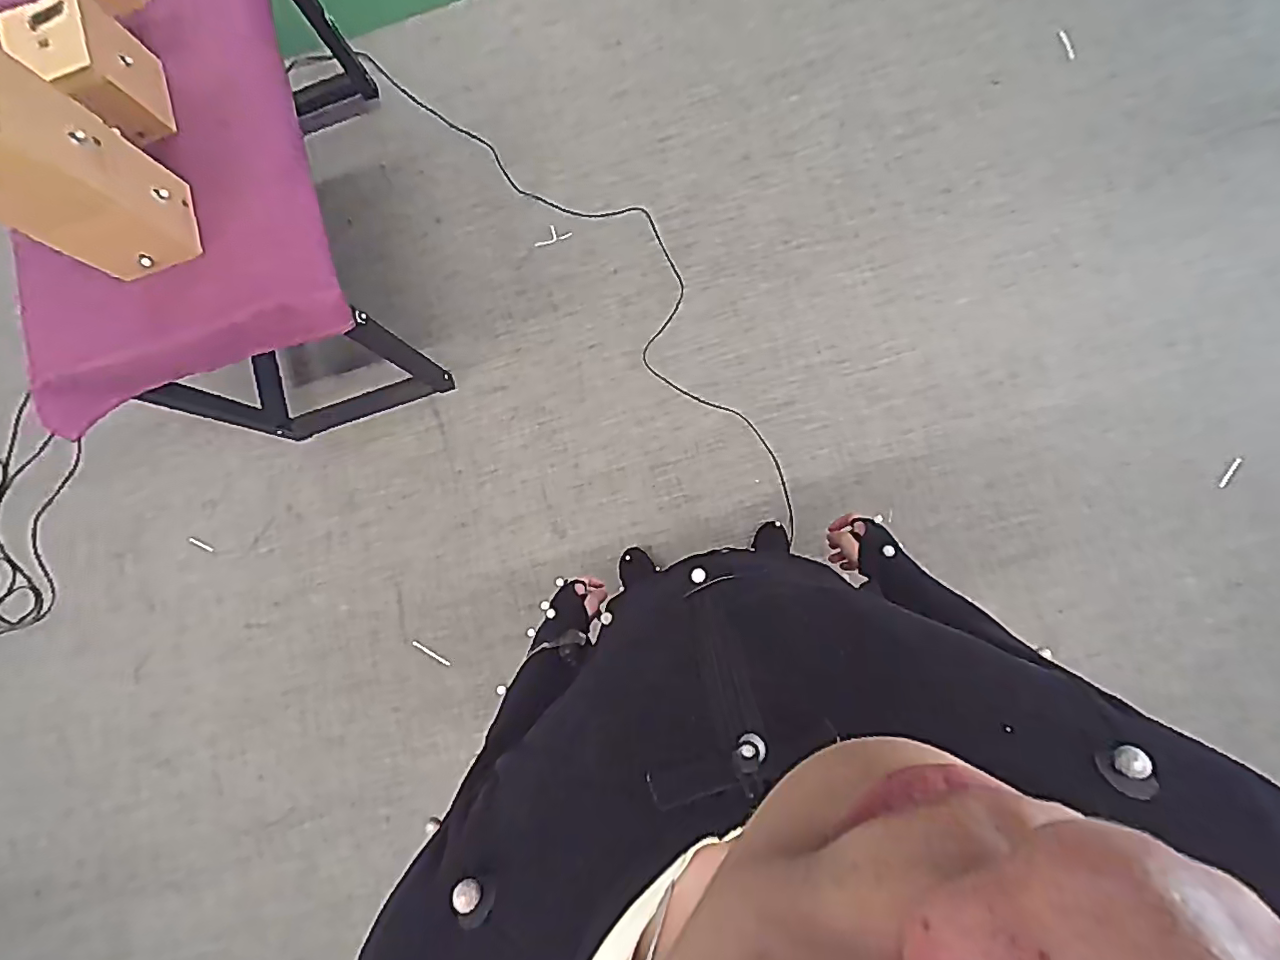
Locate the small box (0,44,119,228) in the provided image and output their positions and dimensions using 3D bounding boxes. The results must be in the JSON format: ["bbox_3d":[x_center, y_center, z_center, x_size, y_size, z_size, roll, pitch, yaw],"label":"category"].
[{"bbox_3d":[-0.998,-0.537,0.858,0.179,0.176,0.168,-18,83,3],"label":"small box"}]

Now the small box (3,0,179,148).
[{"bbox_3d":[-1.065,-0.792,1.061,0.168,0.176,0.179,-18,83,3],"label":"small box"}]

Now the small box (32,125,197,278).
[{"bbox_3d":[-0.984,-0.515,1.021,0.179,0.176,0.168,-18,81,3],"label":"small box"}]
